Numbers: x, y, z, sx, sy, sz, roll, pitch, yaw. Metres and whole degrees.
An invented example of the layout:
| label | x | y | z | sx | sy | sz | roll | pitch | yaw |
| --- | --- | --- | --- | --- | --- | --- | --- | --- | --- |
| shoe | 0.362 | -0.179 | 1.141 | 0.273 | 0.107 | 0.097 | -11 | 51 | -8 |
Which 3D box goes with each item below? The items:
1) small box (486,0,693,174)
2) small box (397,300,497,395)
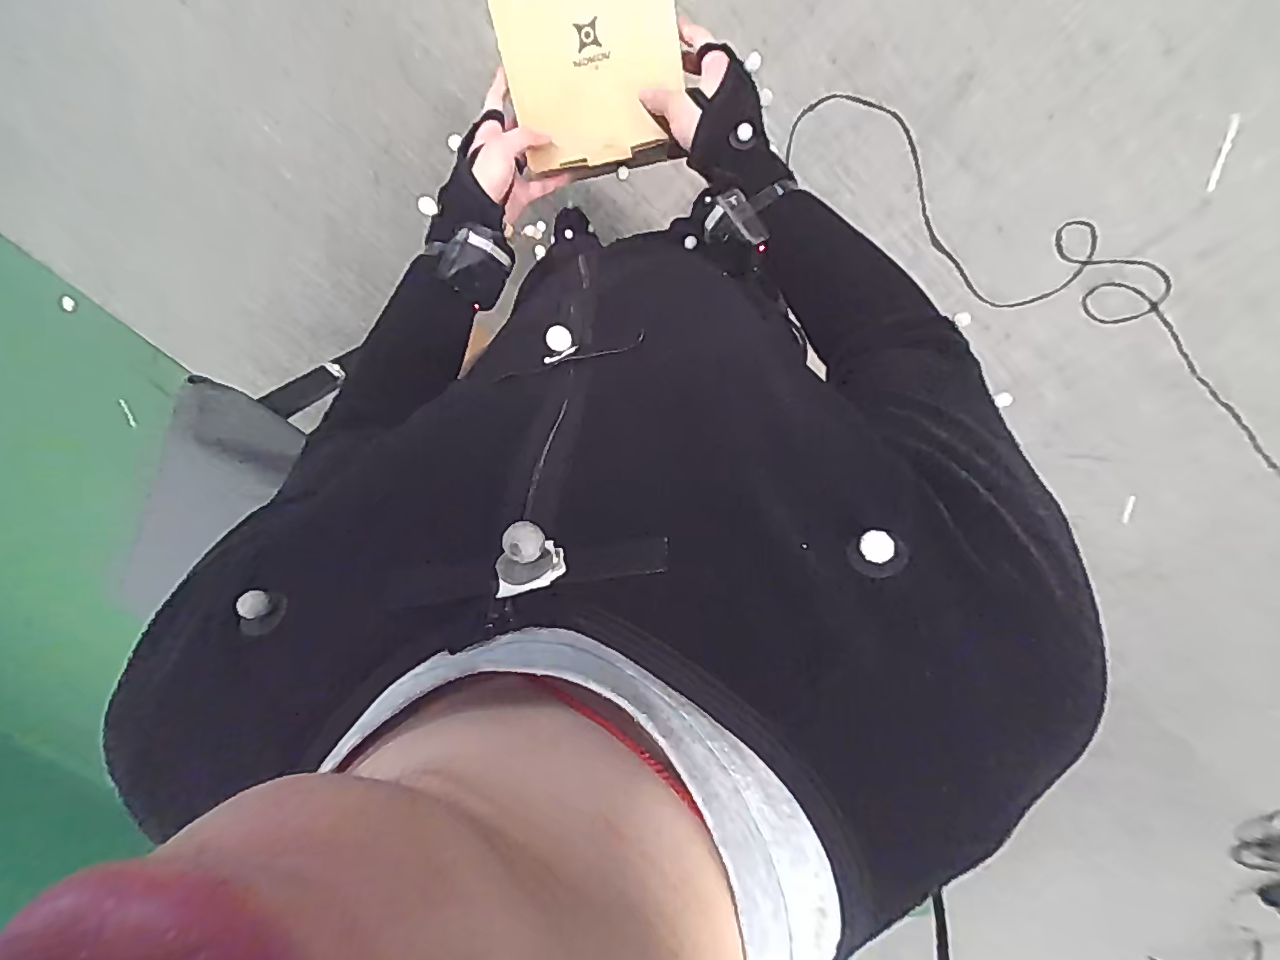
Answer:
| label | x | y | z | sx | sy | sz | roll | pitch | yaw |
| --- | --- | --- | --- | --- | --- | --- | --- | --- | --- |
| small box | -0.039 | -0.429 | 0.560 | 0.168 | 0.176 | 0.179 | -7 | 115 | 11 |
| small box | -0.531 | -0.372 | 1.510 | 0.179 | 0.176 | 0.168 | -38 | 107 | 26 |
